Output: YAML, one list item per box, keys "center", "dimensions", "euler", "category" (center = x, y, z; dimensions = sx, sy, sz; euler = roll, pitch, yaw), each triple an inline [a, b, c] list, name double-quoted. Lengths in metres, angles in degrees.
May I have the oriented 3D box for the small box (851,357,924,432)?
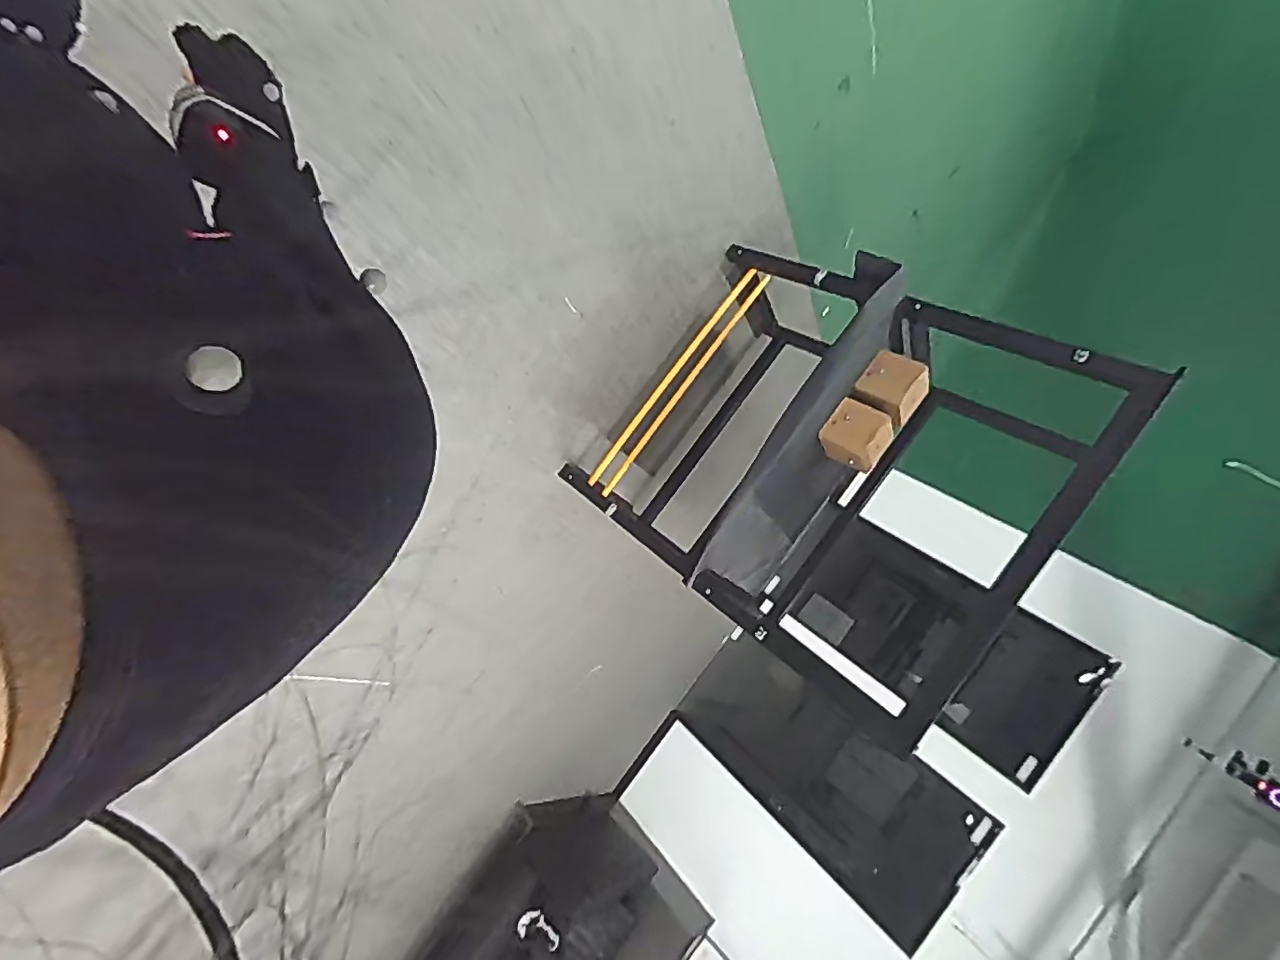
- center: [0.858, -0.301, 1.874]
  dimensions: [0.168, 0.176, 0.179]
  euler: [-54, 145, -3]
  category: "small box"
